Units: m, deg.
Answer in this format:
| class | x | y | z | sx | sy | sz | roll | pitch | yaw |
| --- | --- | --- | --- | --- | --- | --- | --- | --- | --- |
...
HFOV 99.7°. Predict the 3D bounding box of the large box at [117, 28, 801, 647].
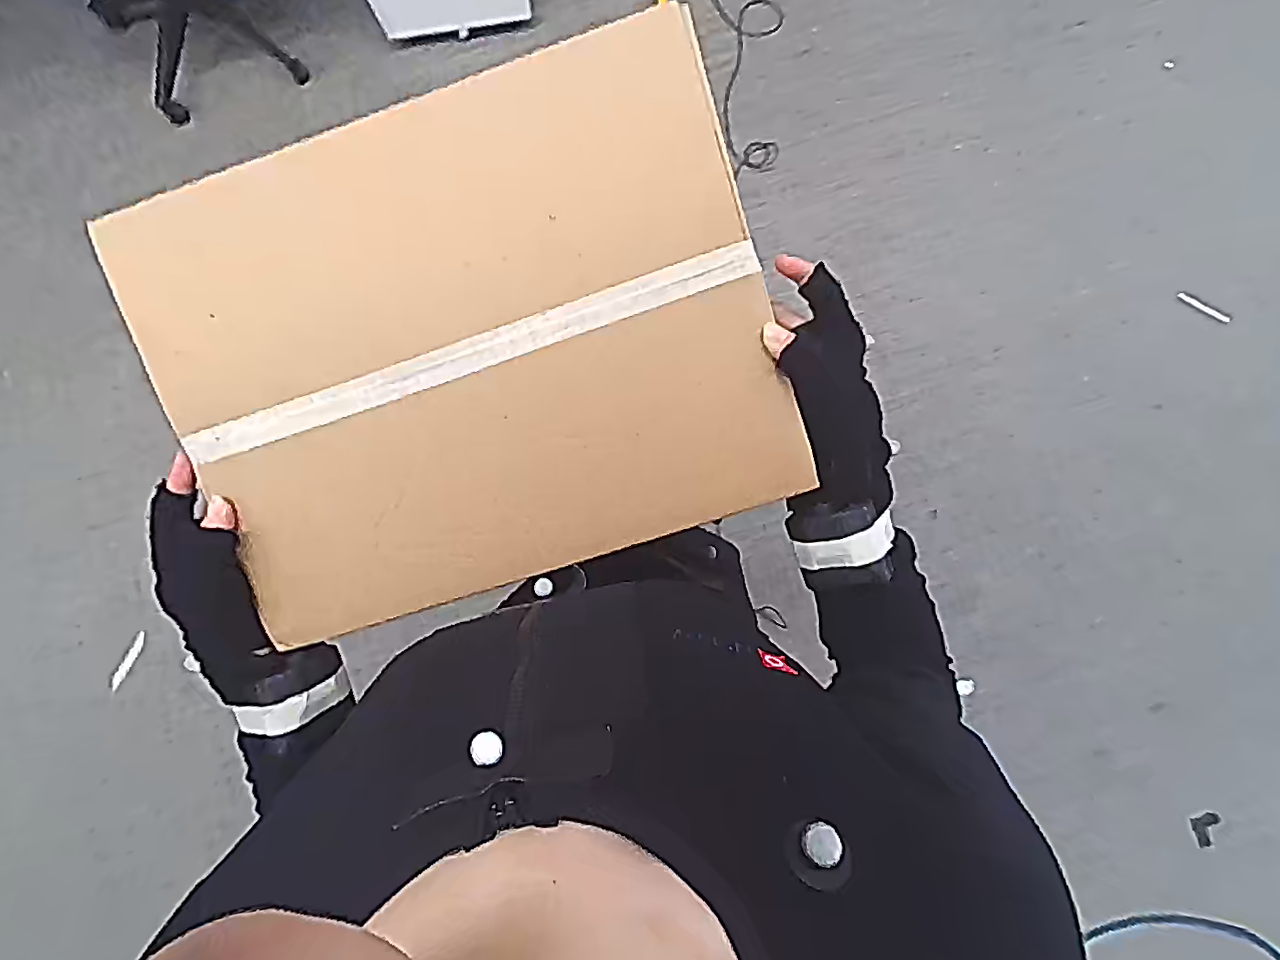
| class | x | y | z | sx | sy | sz | roll | pitch | yaw |
| --- | --- | --- | --- | --- | --- | --- | --- | --- | --- |
| large box | -0.115 | -0.103 | 0.517 | 0.408 | 0.320 | 0.320 | -18 | 97 | 4 |
